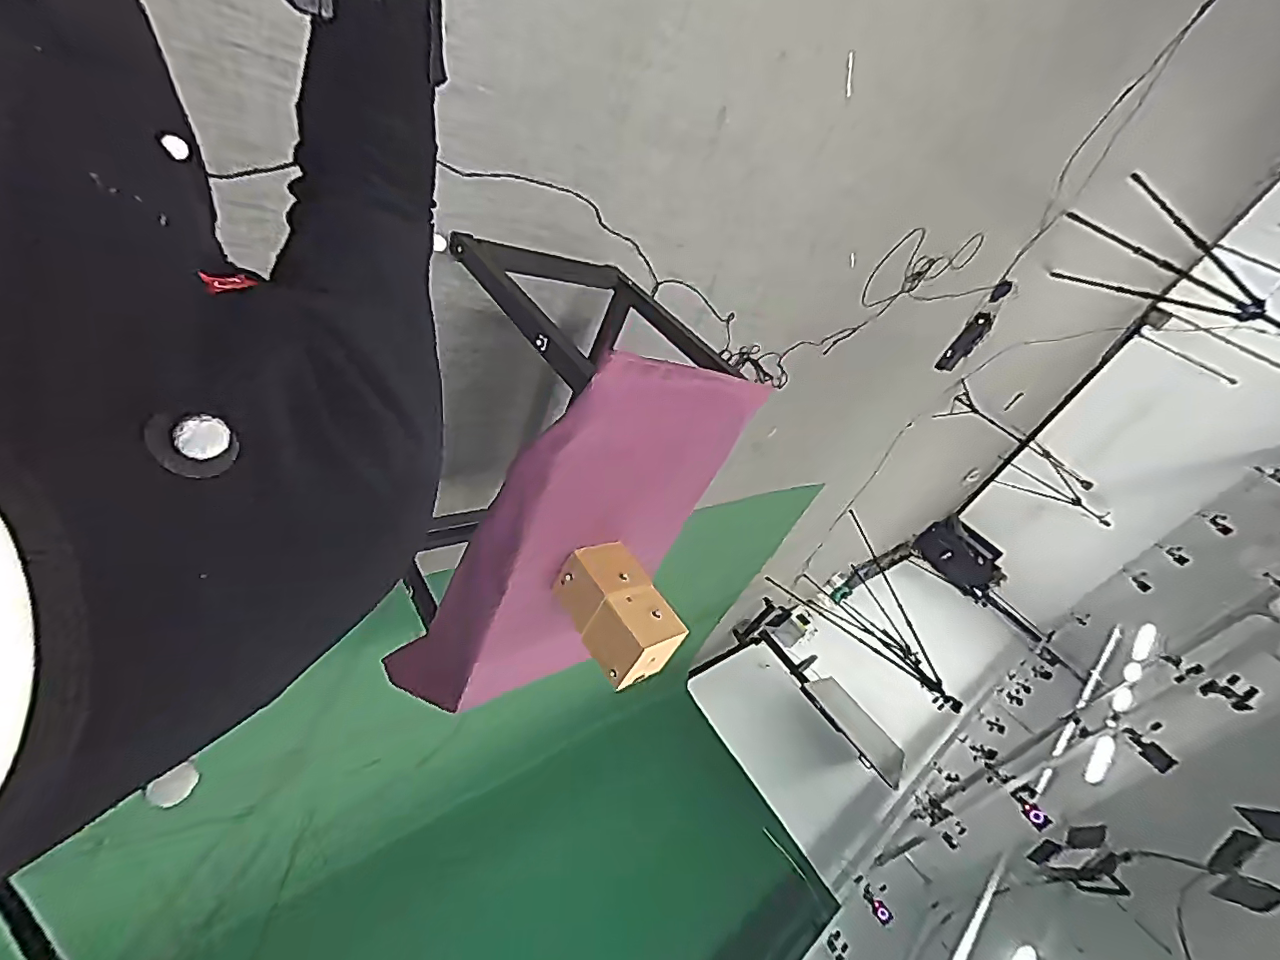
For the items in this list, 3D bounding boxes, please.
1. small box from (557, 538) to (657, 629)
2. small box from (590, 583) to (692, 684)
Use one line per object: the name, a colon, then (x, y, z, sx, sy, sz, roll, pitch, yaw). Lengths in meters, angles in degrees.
small box: (-0.094, 0.275, 1.479, 0.179, 0.176, 0.168, -4, 133, -46)
small box: (-0.004, 0.386, 1.404, 0.168, 0.176, 0.179, -6, 135, -45)
